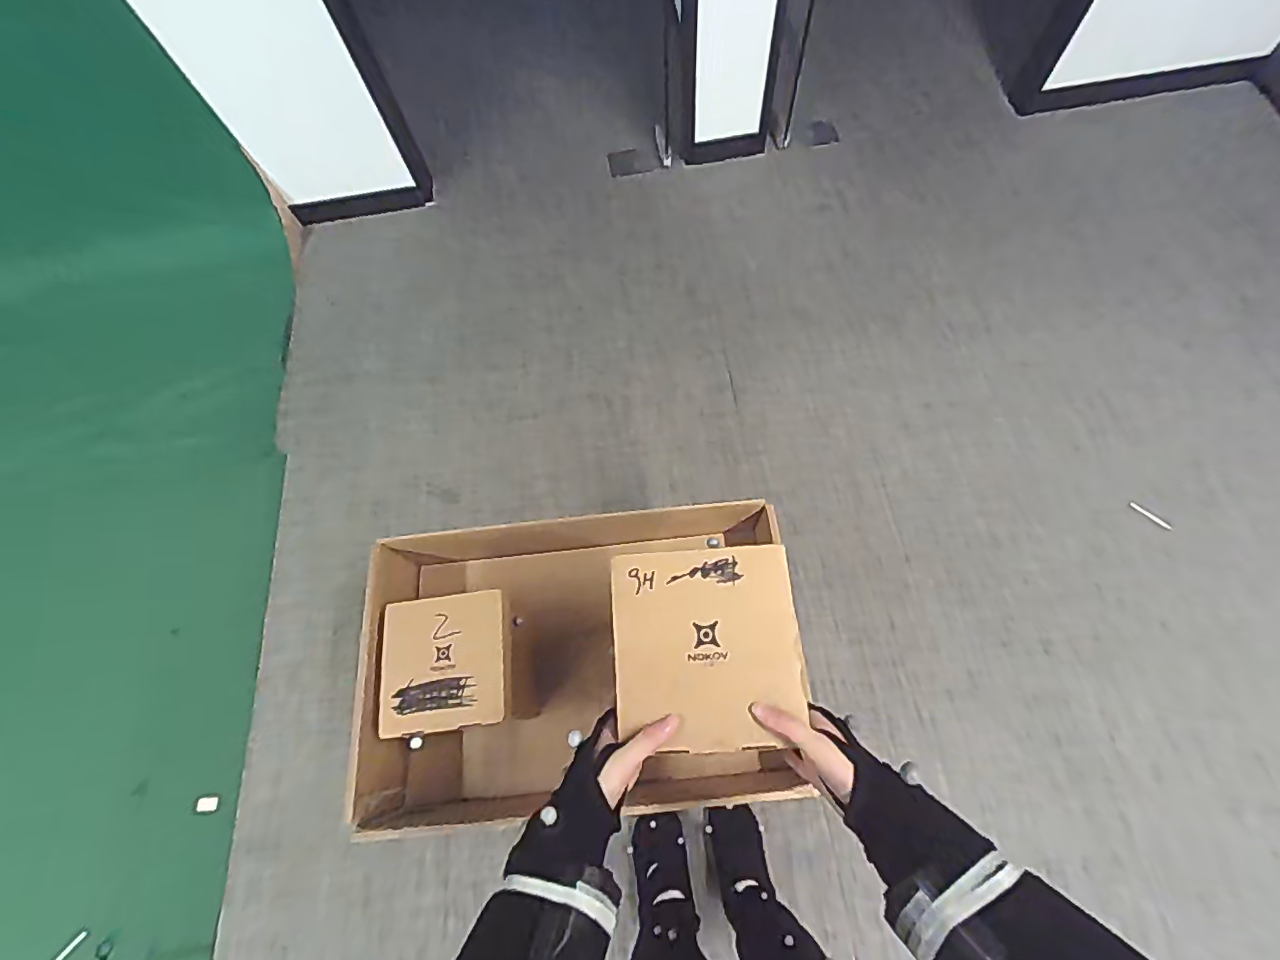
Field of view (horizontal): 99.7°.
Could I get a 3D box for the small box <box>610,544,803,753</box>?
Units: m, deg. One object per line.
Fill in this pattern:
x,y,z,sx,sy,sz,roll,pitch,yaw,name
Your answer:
0.061,0.170,0.563,0.168,0.176,0.179,-4,73,2,small box
